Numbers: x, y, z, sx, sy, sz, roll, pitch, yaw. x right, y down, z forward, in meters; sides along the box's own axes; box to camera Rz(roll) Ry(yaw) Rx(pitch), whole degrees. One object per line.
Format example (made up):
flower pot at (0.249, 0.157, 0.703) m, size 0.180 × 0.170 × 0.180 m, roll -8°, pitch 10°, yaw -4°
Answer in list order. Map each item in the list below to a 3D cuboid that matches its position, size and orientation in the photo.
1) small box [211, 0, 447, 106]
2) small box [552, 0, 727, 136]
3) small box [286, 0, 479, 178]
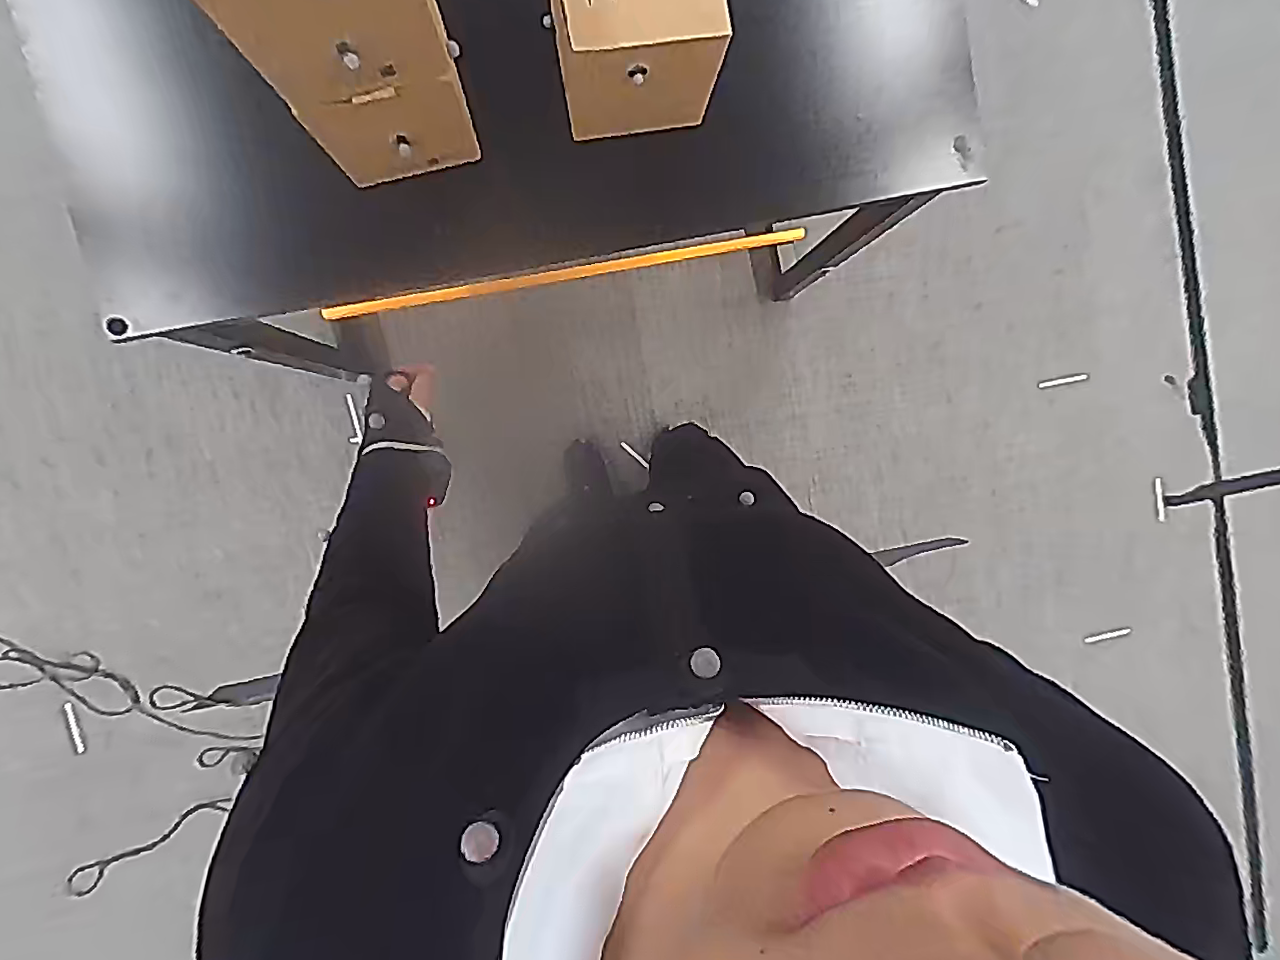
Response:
small box at (-0.288, -0.472, 0.460) m, size 0.168 × 0.176 × 0.179 m, roll -18°, pitch 95°, yaw -3°
small box at (-0.011, -0.544, 0.646) m, size 0.179 × 0.176 × 0.168 m, roll -11°, pitch 95°, yaw -5°
small box at (-0.302, -0.479, 0.626) m, size 0.168 × 0.176 × 0.179 m, roll -16°, pitch 95°, yaw -4°
